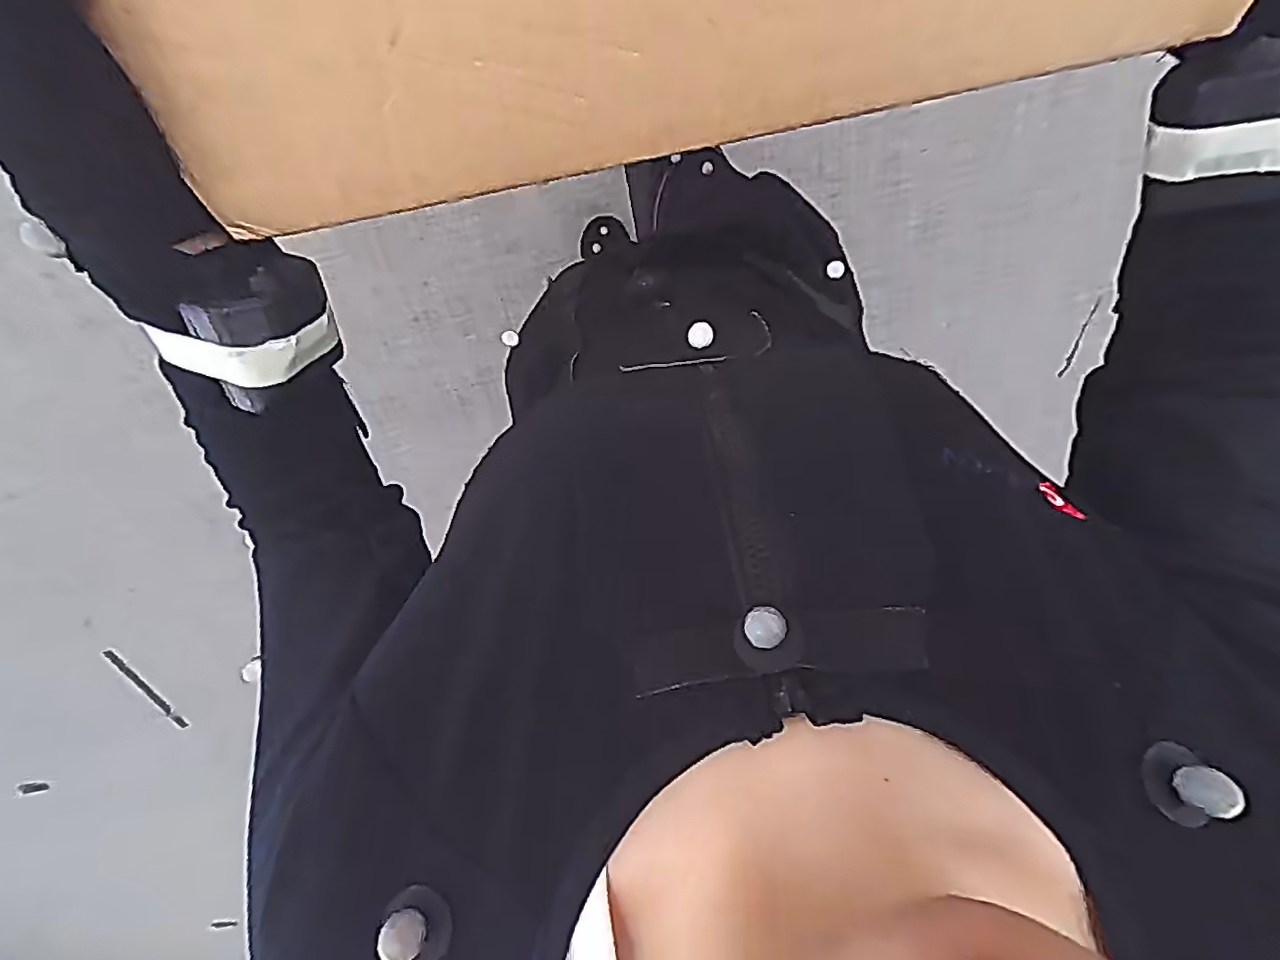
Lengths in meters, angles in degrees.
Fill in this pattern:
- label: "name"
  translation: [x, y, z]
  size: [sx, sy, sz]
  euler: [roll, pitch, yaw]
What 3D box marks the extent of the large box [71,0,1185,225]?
- label: "large box"
  translation: [-0.017, -0.355, 0.203]
  size: [0.408, 0.320, 0.320]
  euler: [-9, 140, 4]
